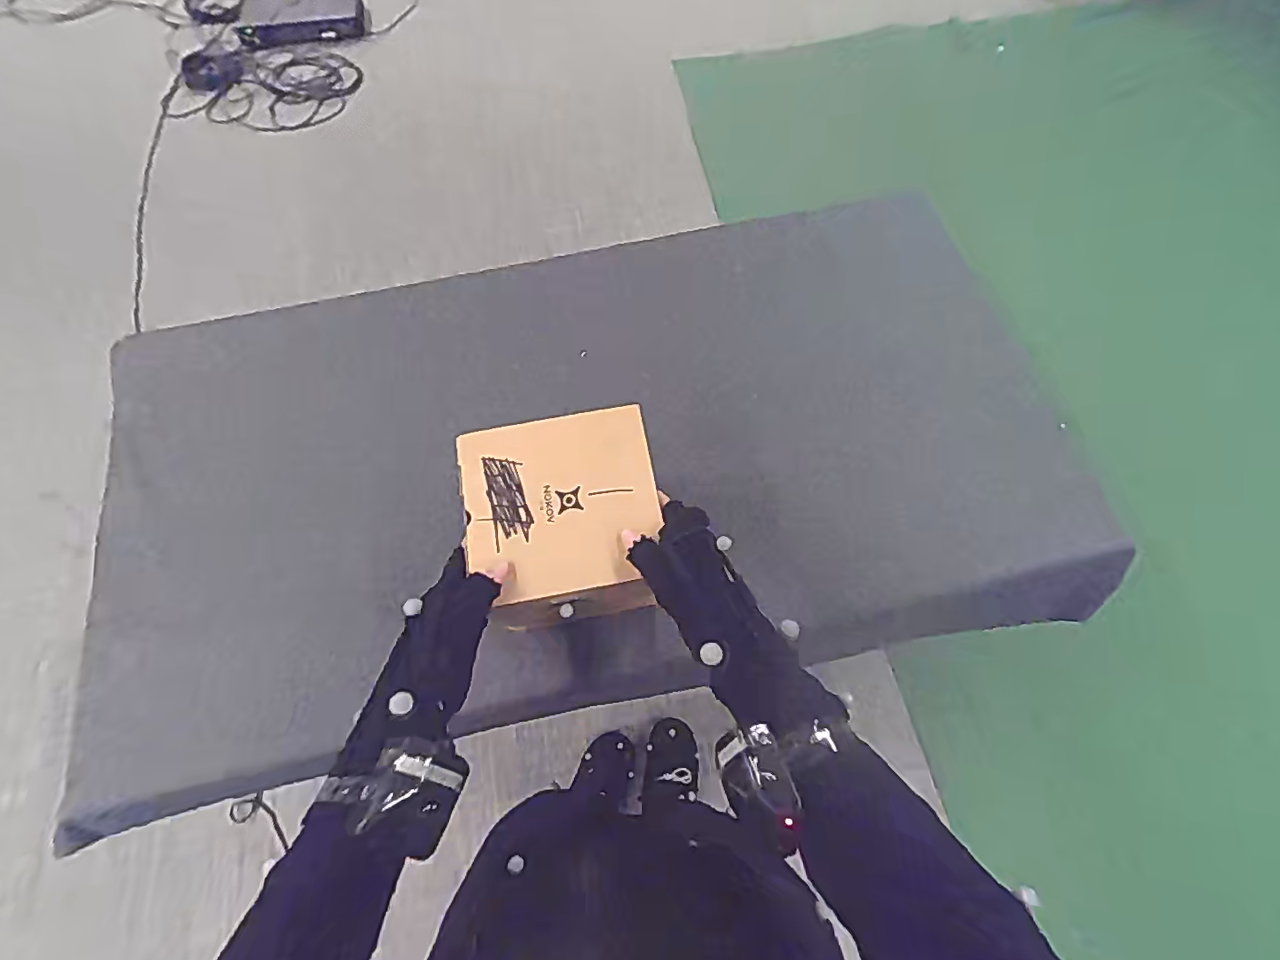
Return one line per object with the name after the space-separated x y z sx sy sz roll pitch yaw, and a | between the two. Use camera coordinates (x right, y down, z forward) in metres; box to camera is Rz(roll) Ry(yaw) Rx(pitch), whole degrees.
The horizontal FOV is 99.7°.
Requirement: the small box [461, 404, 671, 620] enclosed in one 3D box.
-0.069 0.043 0.560 0.179 0.176 0.168 -10 71 -3 | small box
